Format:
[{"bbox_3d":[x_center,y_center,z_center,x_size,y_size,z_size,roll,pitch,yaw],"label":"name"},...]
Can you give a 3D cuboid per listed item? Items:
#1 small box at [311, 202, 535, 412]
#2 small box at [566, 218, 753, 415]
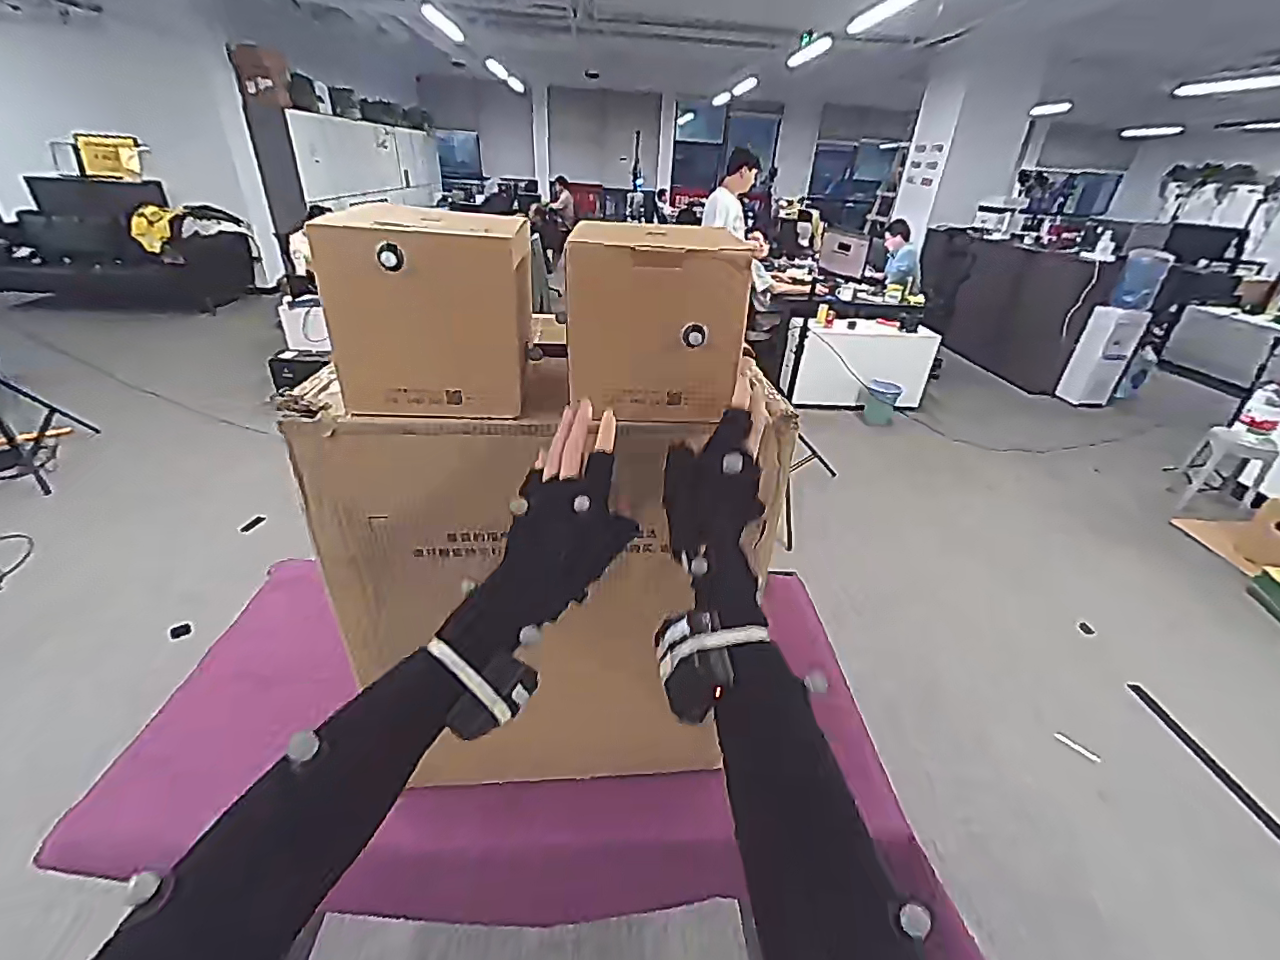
[{"bbox_3d":[-0.197,-0.180,0.550,0.168,0.176,0.179,0,29,-6],"label":"small box"},{"bbox_3d":[0.014,-0.177,0.573,0.168,0.176,0.179,2,29,-3],"label":"small box"}]
